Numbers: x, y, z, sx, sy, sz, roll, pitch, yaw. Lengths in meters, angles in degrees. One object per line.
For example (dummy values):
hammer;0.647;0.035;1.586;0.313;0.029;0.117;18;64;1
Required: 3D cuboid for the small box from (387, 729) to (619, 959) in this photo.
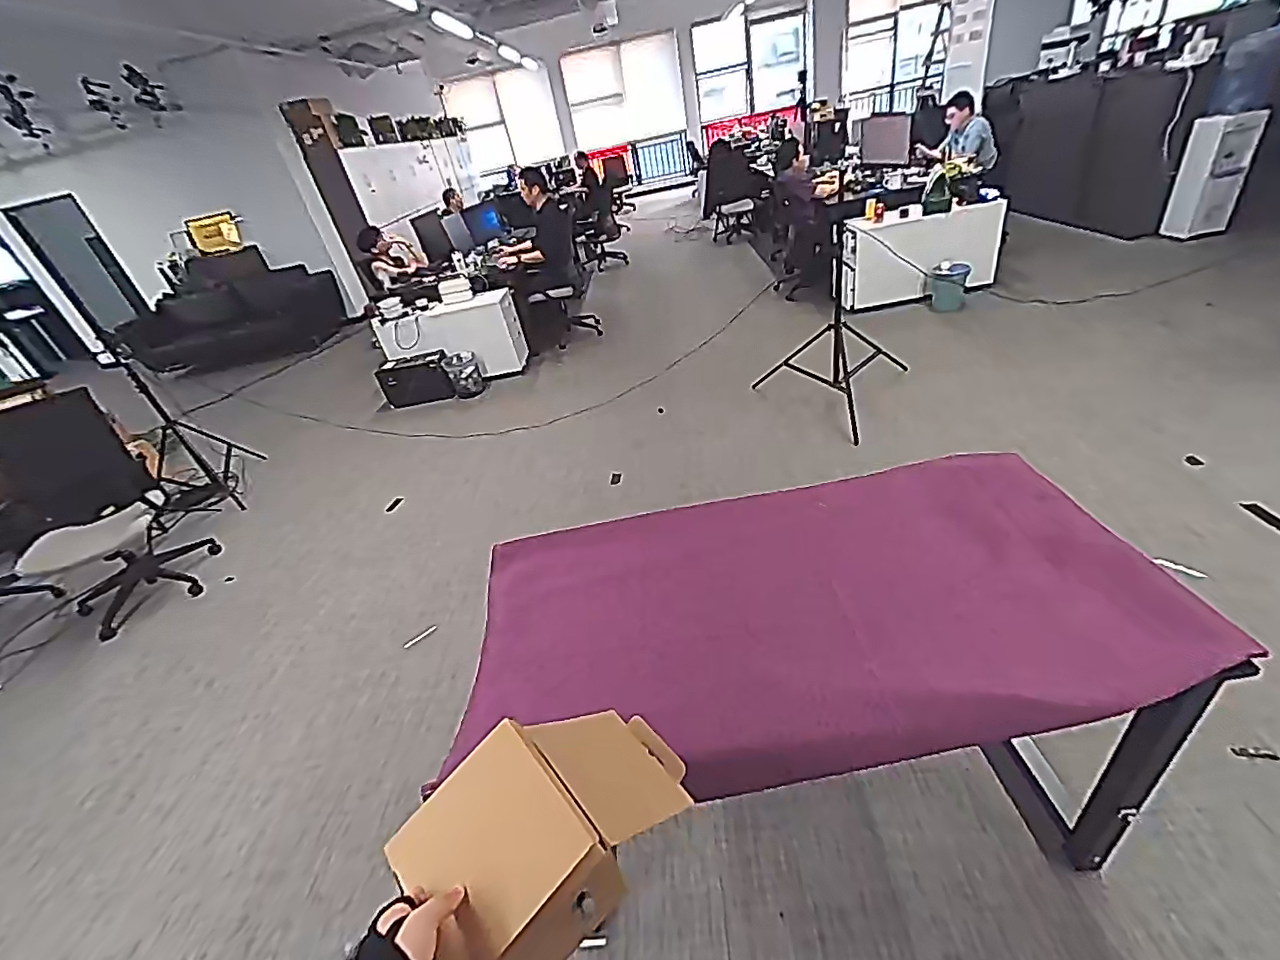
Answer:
small box;-0.138;0.427;0.600;0.179;0.176;0.168;-34;47;-25
